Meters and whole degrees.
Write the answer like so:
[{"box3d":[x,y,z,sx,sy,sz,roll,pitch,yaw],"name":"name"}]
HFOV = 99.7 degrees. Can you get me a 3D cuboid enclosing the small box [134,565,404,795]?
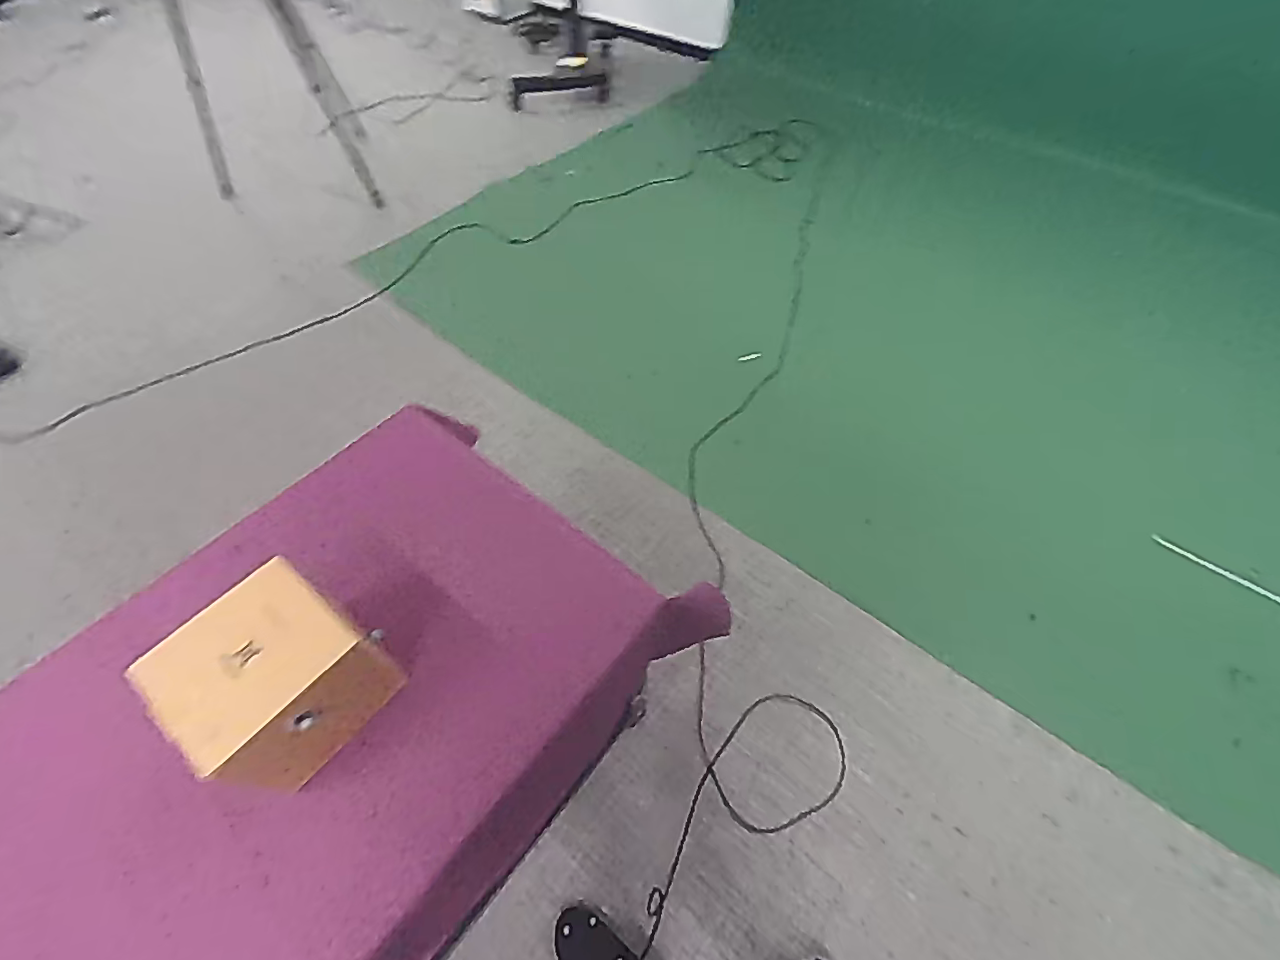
[{"box3d":[-0.422,0.242,0.646,0.168,0.176,0.179,34,61,21],"name":"small box"}]
